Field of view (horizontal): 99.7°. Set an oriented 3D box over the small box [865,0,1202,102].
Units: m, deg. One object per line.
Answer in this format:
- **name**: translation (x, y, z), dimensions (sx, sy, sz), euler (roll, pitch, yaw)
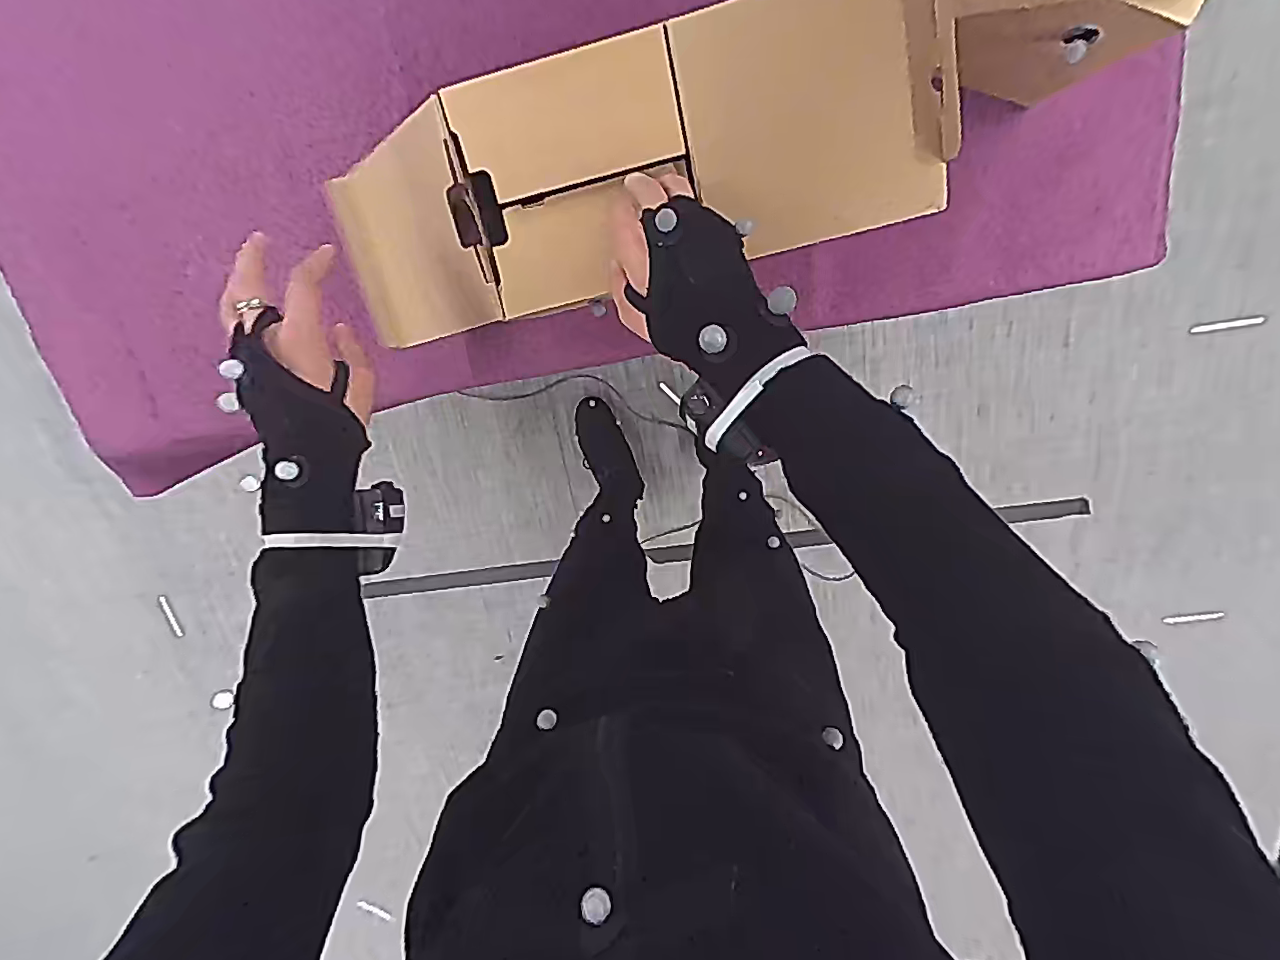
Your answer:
- **small box**: translation (0.306, -0.418, 0.405), dimensions (0.179, 0.176, 0.168), euler (16, 108, -3)
